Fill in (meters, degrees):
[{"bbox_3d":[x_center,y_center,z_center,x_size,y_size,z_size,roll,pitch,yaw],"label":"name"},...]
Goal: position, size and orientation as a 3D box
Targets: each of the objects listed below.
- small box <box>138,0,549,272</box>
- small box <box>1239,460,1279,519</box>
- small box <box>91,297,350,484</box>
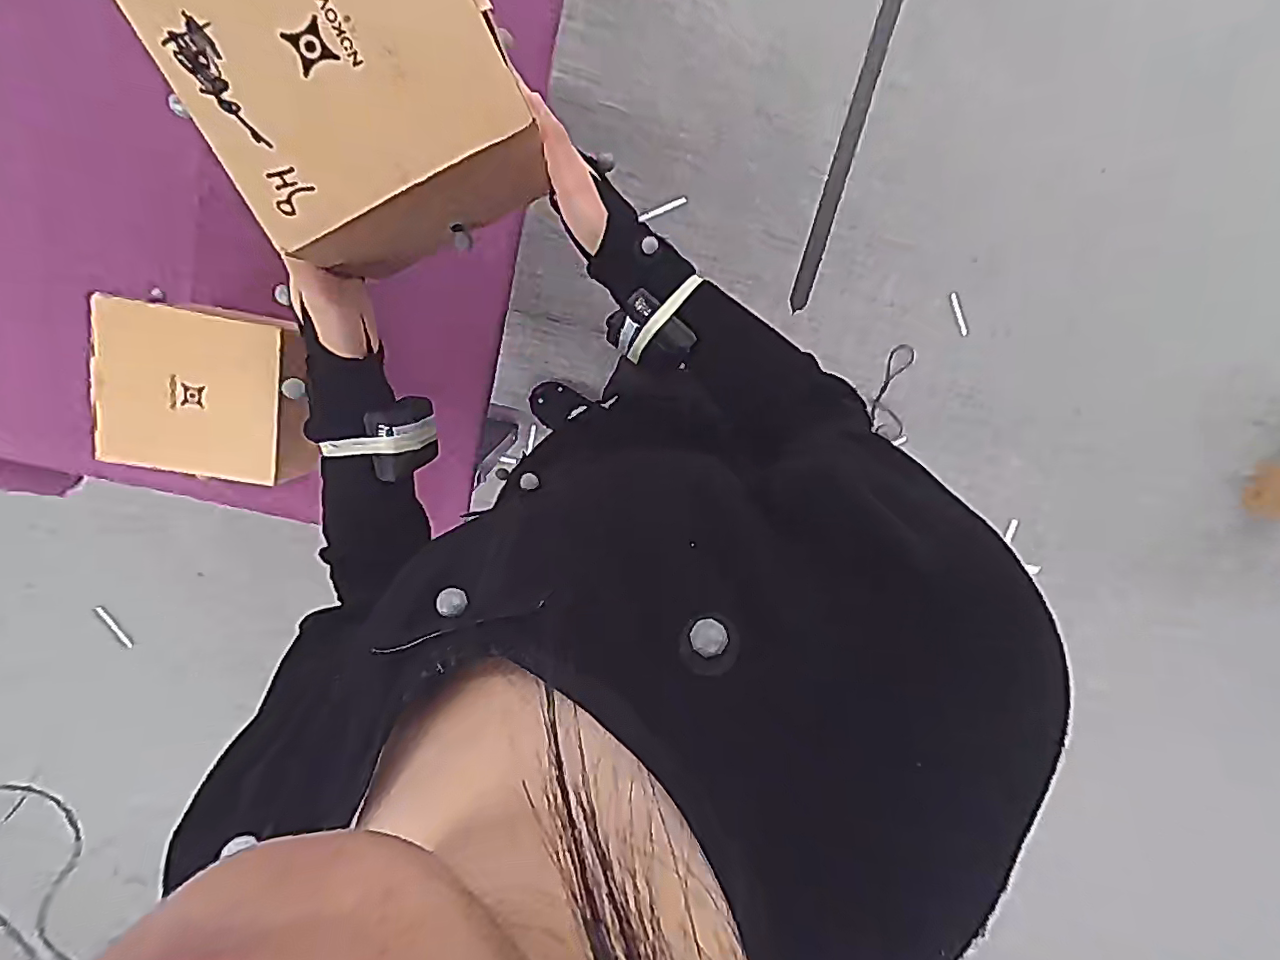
[{"bbox_3d":[-0.176,-0.265,0.377,0.179,0.176,0.168,-26,106,0],"label":"small box"},{"bbox_3d":[1.973,0.043,1.612,0.179,0.176,0.168,8,104,-8],"label":"small box"},{"bbox_3d":[-0.459,-0.105,0.621,0.179,0.176,0.168,9,103,-6],"label":"small box"}]
